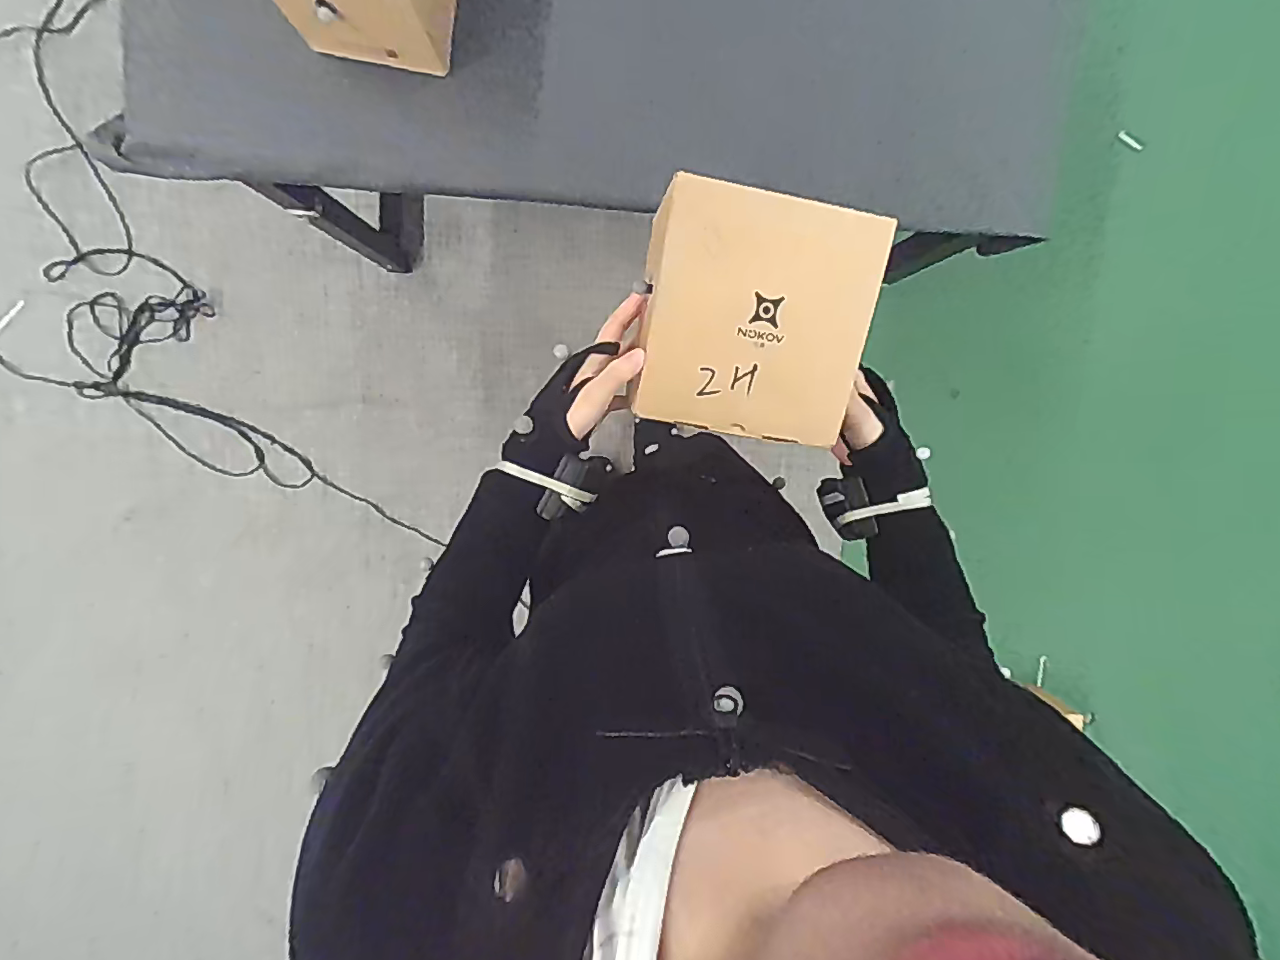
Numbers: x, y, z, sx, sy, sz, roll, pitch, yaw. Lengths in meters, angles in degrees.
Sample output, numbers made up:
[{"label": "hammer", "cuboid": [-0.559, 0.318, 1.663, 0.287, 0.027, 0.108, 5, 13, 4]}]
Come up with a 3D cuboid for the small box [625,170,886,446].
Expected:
[{"label": "small box", "cuboid": [0.081, -0.143, 0.483, 0.168, 0.176, 0.179, 9, 105, -6]}]

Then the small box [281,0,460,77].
[{"label": "small box", "cuboid": [-0.301, -0.591, 0.593, 0.168, 0.176, 0.179, 9, 95, -4]}]
